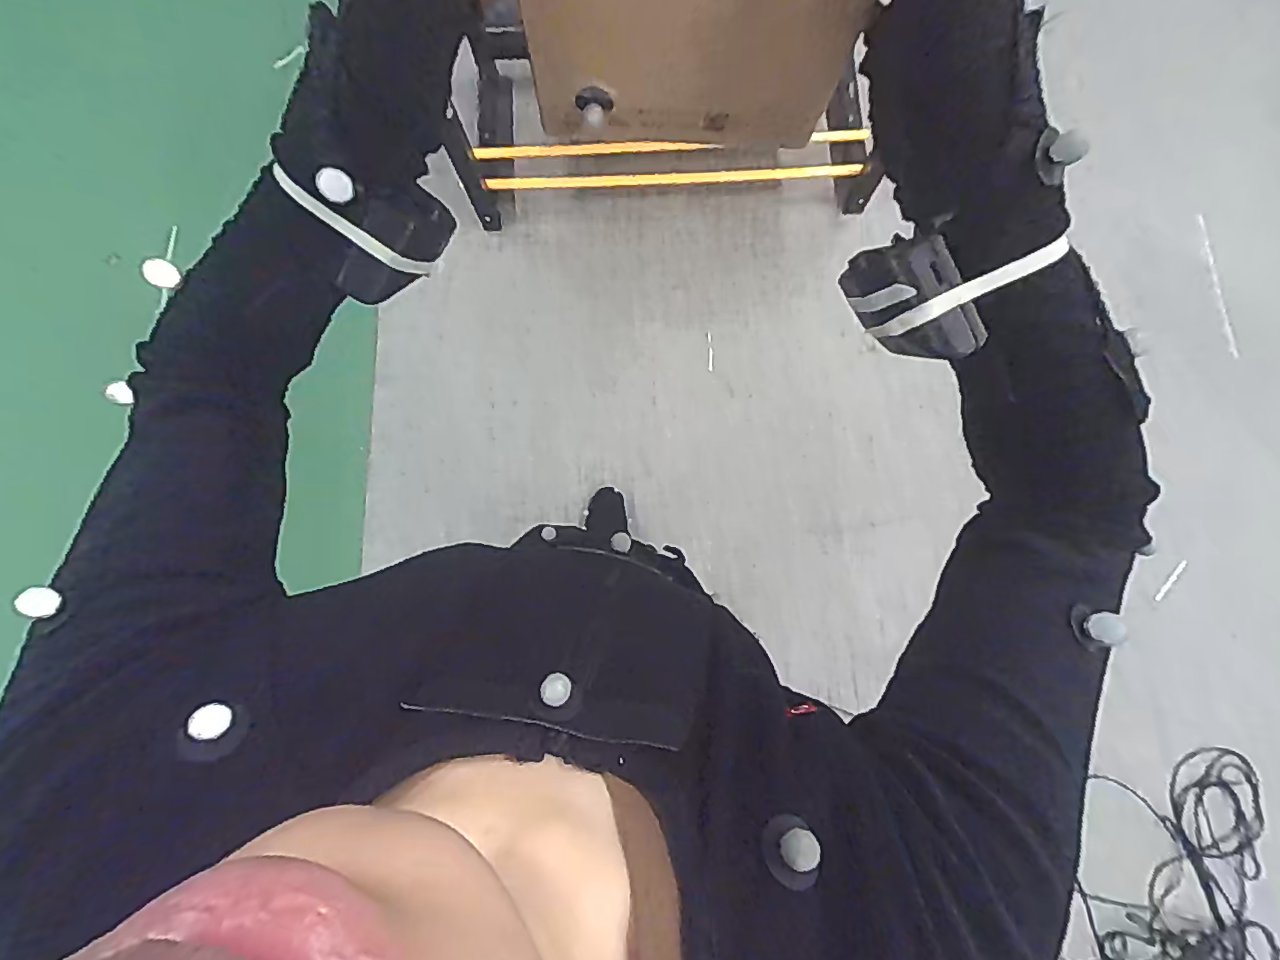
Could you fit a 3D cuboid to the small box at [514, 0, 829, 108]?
[{"bbox_3d":[0.019,-0.321,0.261,0.168,0.176,0.179,2,83,-2],"label":"small box"}]
